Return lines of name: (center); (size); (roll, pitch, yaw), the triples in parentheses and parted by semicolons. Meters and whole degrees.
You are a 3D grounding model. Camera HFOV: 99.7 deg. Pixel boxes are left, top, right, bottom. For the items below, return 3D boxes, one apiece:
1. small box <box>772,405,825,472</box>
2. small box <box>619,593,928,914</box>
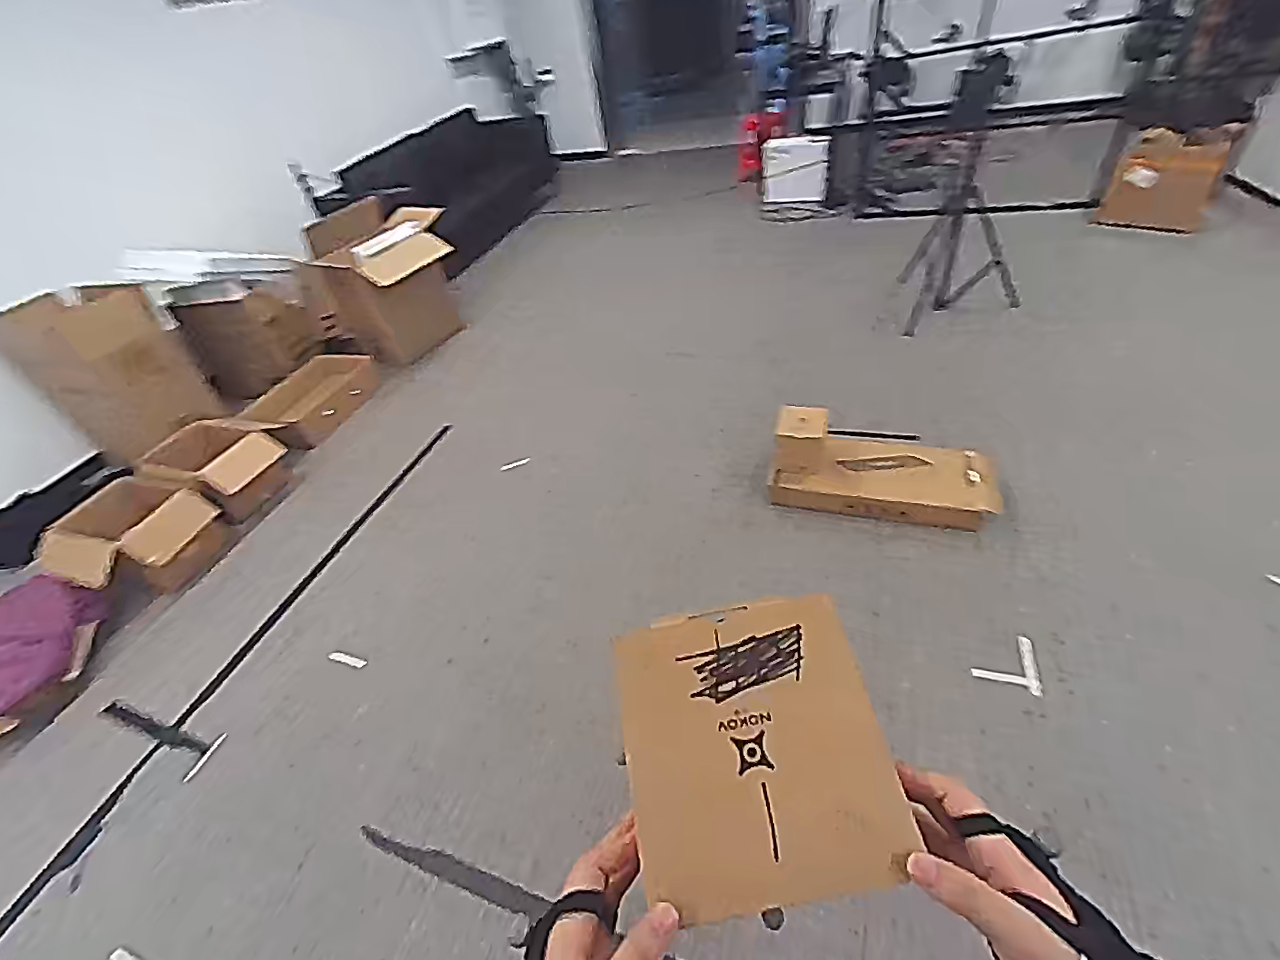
small box: (0.580, -0.153, 1.985); (0.168, 0.176, 0.179); (7, 45, 19)
small box: (0.083, 0.213, 0.422); (0.168, 0.176, 0.179); (-11, 54, 1)
